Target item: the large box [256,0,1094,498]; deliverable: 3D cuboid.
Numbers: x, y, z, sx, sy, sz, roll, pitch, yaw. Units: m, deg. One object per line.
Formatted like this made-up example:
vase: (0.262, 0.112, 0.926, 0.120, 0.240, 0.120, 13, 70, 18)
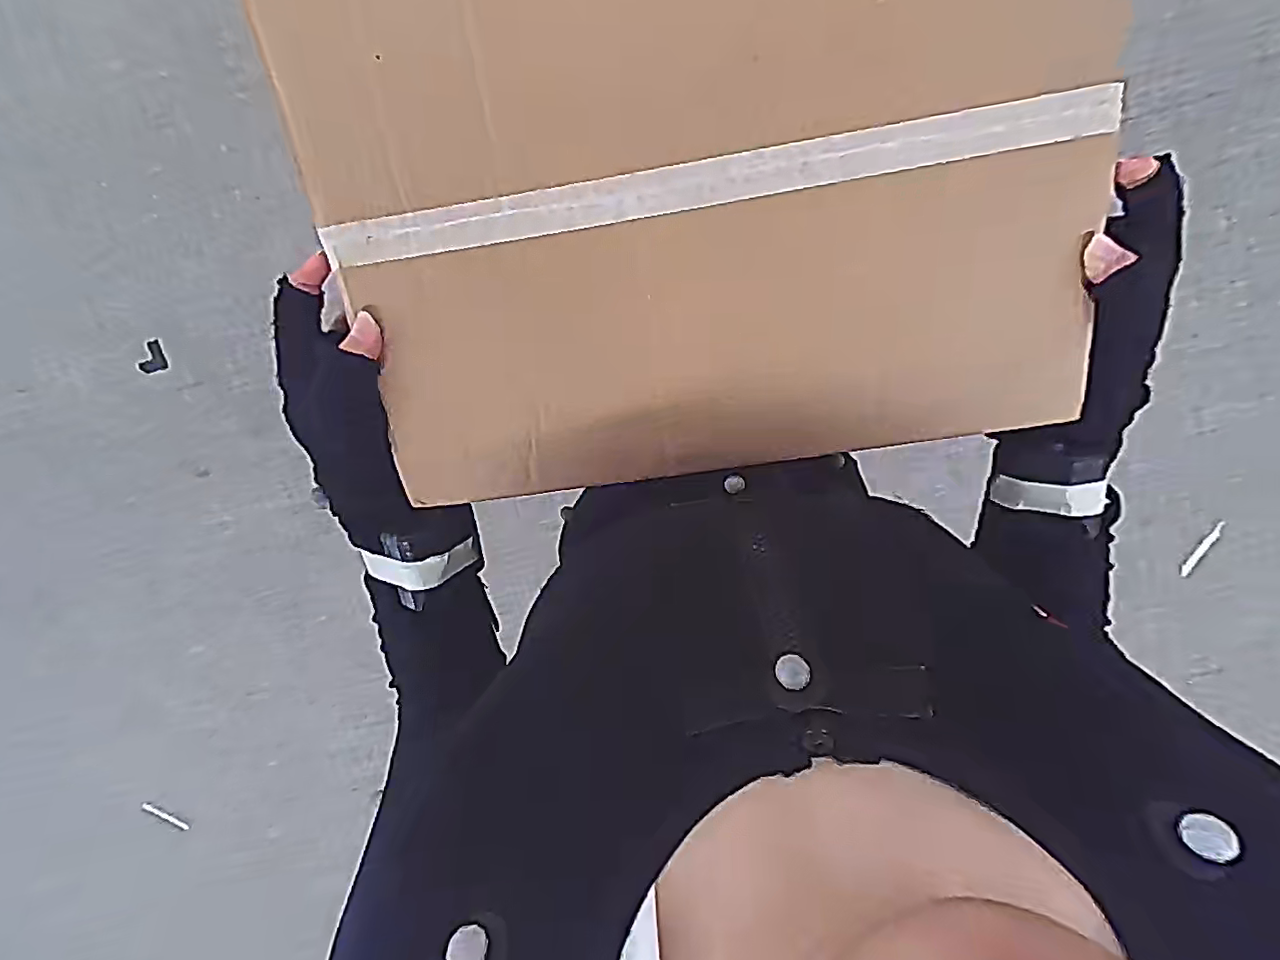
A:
large box: (0.031, -0.211, 0.427, 0.408, 0.320, 0.320, -8, 110, 4)
